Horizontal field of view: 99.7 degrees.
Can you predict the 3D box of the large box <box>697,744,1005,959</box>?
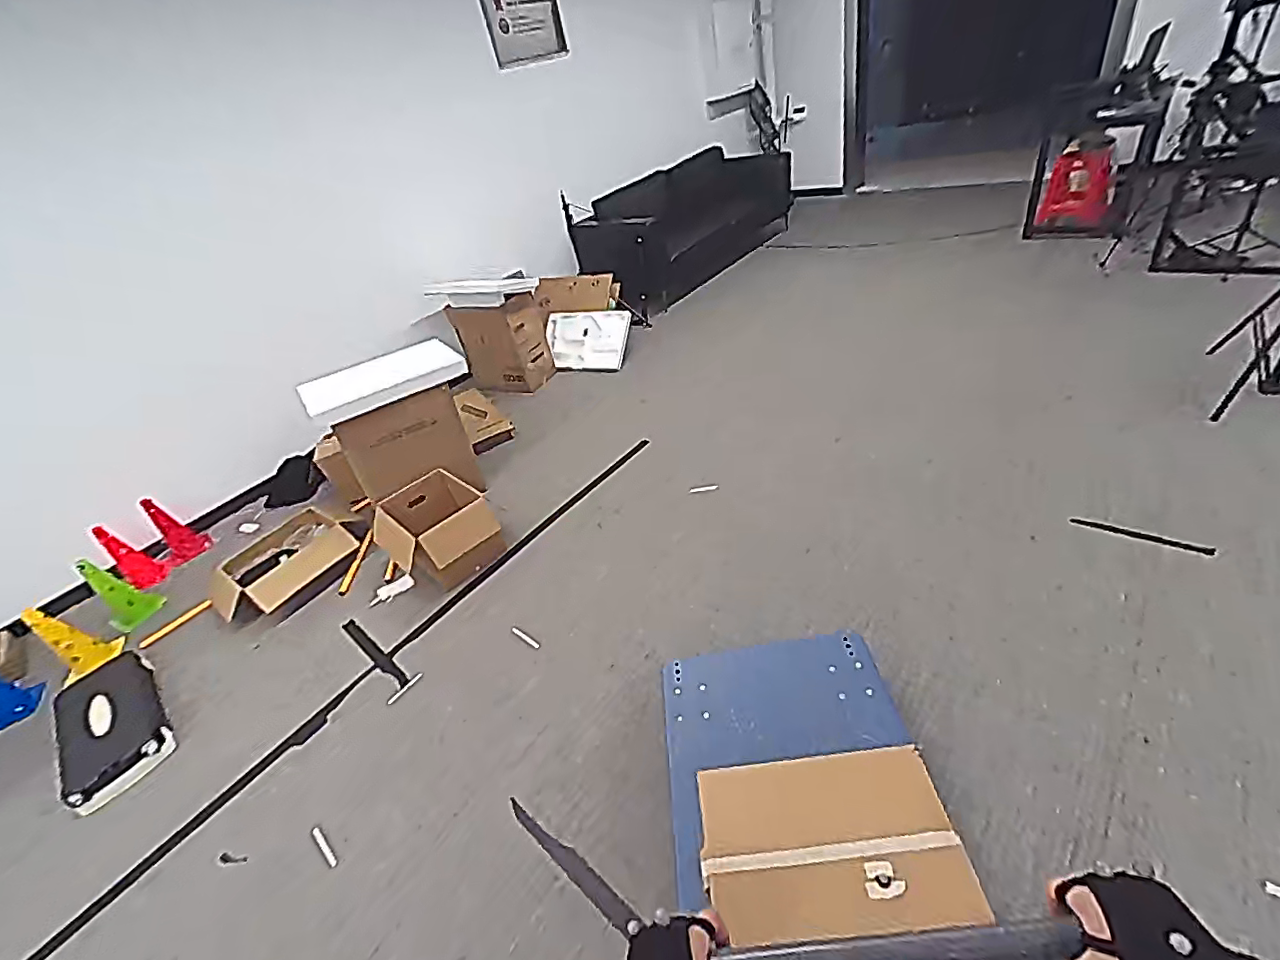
[{"bbox_3d":[0.333,0.727,0.969,0.408,0.320,0.320,-9,36,4],"label":"large box"}]
